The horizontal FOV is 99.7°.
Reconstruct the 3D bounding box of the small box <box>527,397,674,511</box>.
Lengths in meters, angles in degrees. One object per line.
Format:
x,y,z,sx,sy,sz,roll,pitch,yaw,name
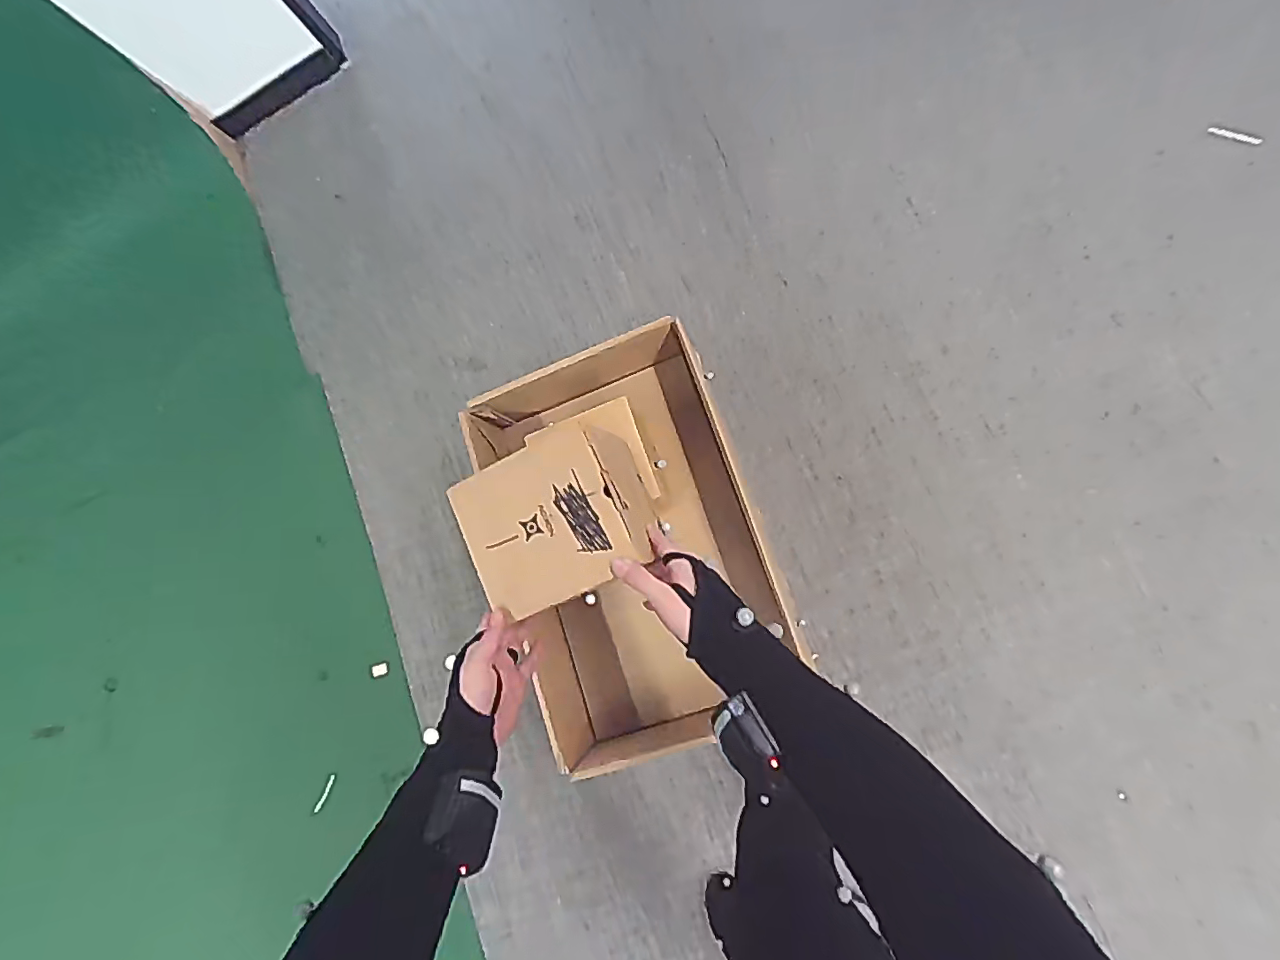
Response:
-0.052,-0.015,0.880,0.179,0.176,0.168,-21,80,10,small box

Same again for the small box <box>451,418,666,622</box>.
-0.081,0.045,0.638,0.179,0.176,0.168,-25,81,13,small box
